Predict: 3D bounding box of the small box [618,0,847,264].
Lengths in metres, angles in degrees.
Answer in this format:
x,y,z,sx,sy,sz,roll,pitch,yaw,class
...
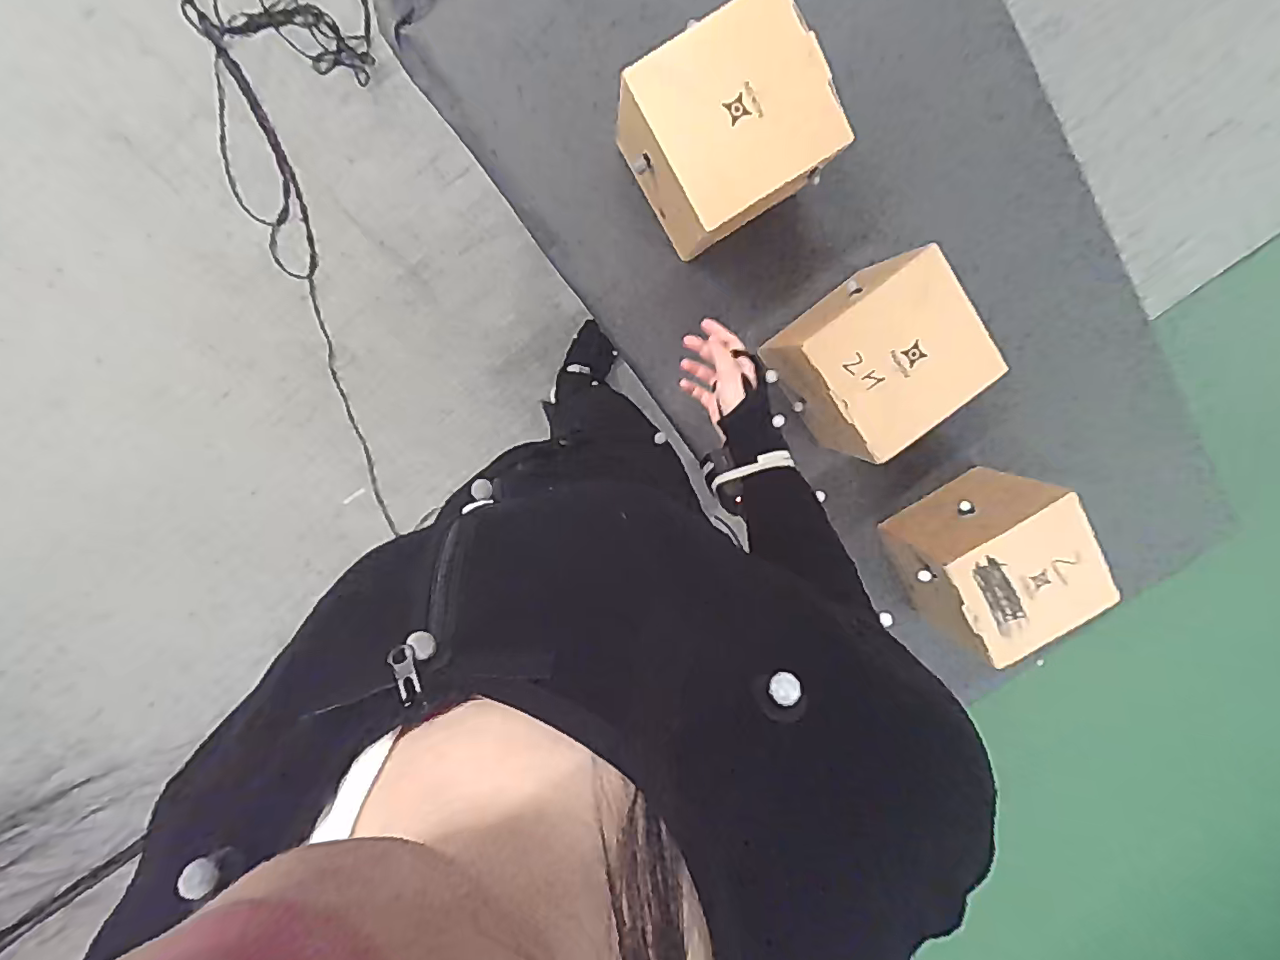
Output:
x,y,z,sx,sy,sz,roll,pitch,yaw,class
0.089,-0.370,0.607,0.179,0.176,0.168,-32,102,2,small box

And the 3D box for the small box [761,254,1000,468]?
x,y,z,sx,sy,sz,roll,pitch,yaw,class
0.279,-0.142,0.666,0.179,0.176,0.168,-37,101,4,small box
